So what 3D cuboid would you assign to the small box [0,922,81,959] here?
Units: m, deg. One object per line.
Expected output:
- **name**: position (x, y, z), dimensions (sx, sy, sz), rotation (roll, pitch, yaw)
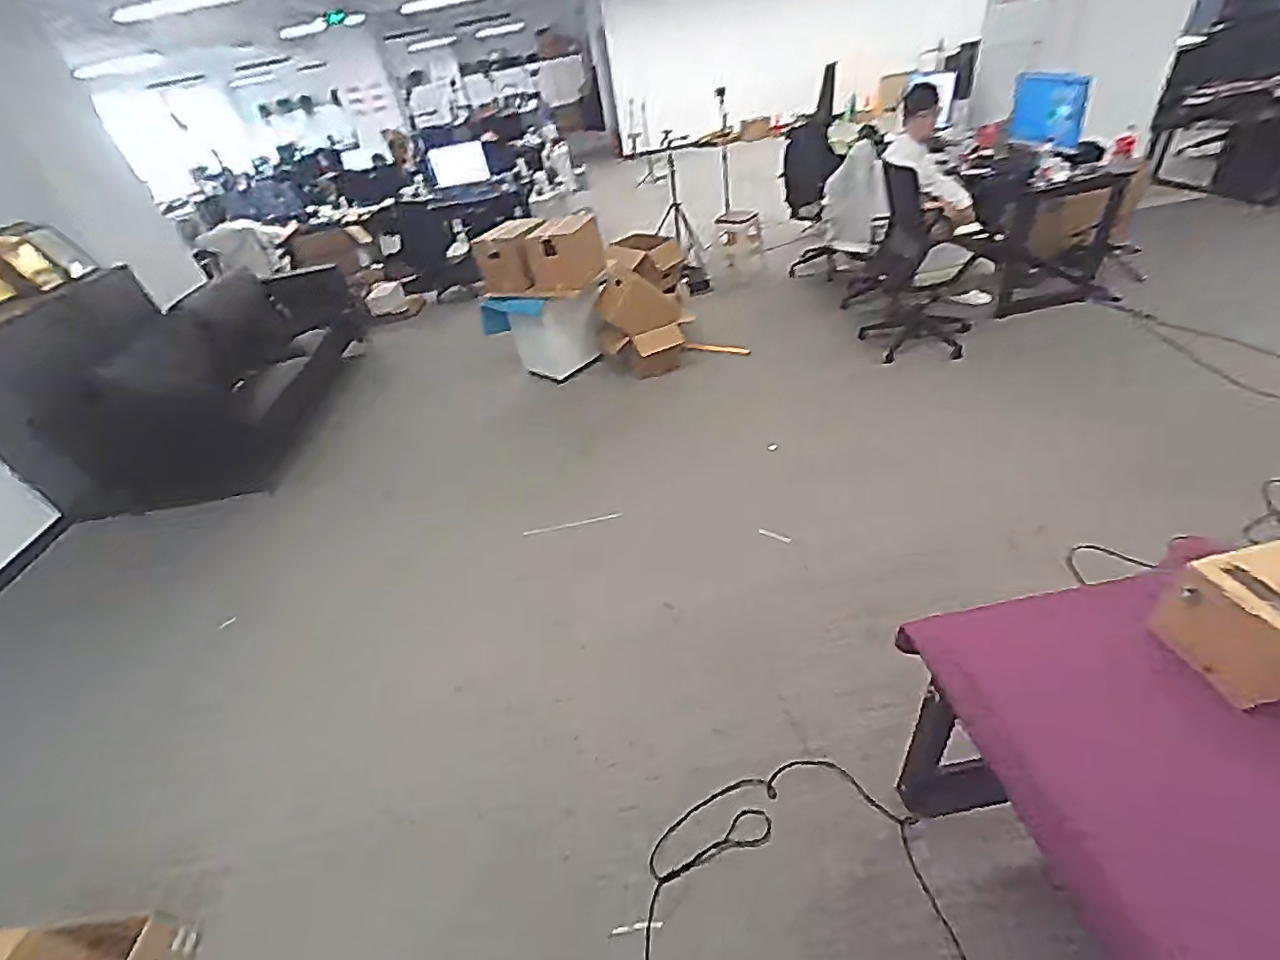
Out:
- **small box**: position (-1.418, 1.095, 1.182), dimensions (0.179, 0.176, 0.168), rotation (-6, 38, 4)
